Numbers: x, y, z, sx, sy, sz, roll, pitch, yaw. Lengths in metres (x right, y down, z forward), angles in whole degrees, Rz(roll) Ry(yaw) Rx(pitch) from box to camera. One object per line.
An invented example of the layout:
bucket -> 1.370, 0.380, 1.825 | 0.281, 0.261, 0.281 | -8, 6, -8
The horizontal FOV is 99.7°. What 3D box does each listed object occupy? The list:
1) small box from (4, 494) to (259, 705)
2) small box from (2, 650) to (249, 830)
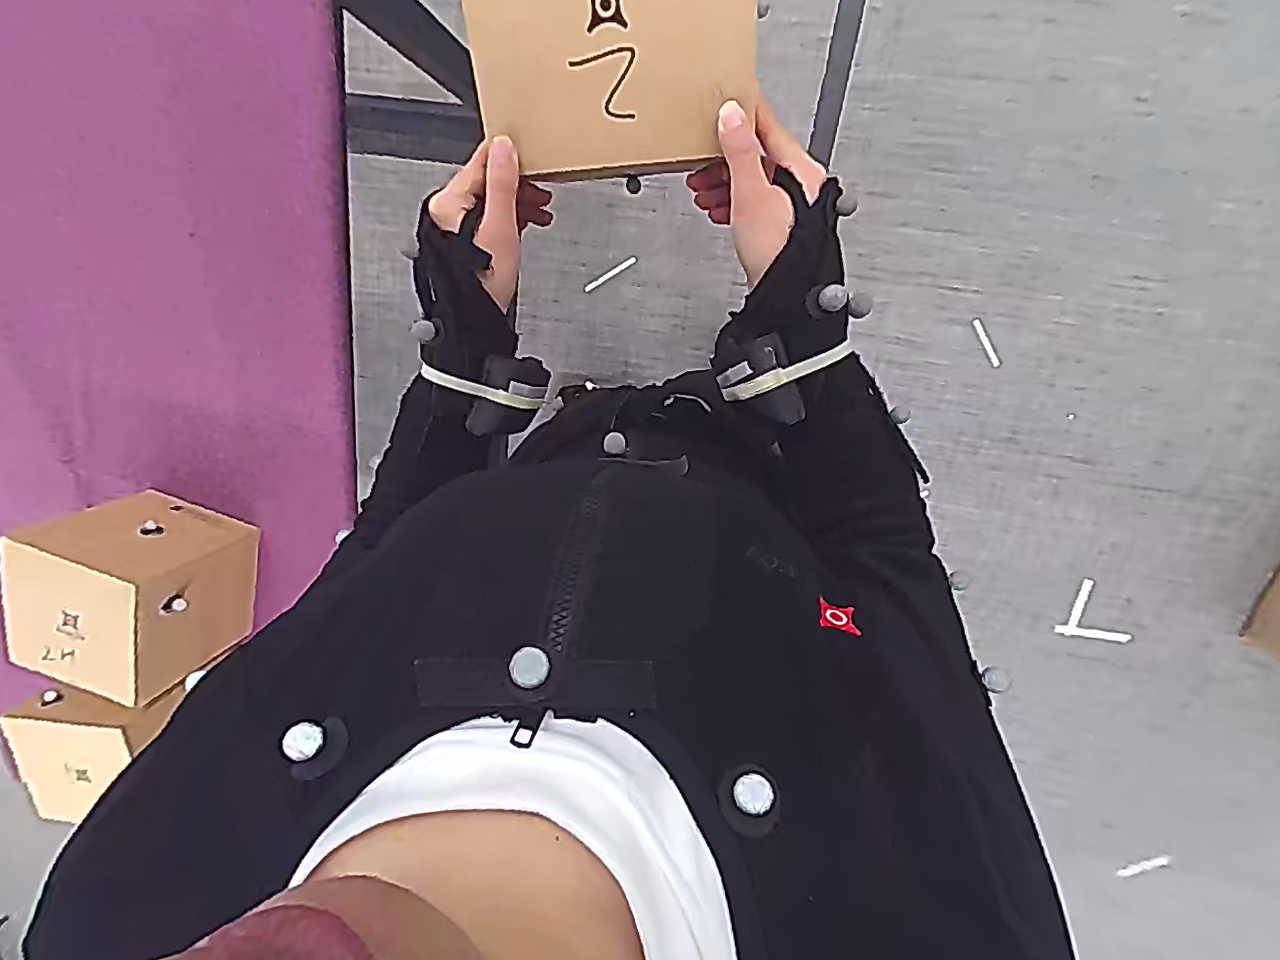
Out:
small box -> -0.620, 0.136, 0.680 | 0.168, 0.176, 0.179 | 19, 109, 3
small box -> -0.690, 0.345, 0.755 | 0.179, 0.176, 0.168 | 2, 107, 7
